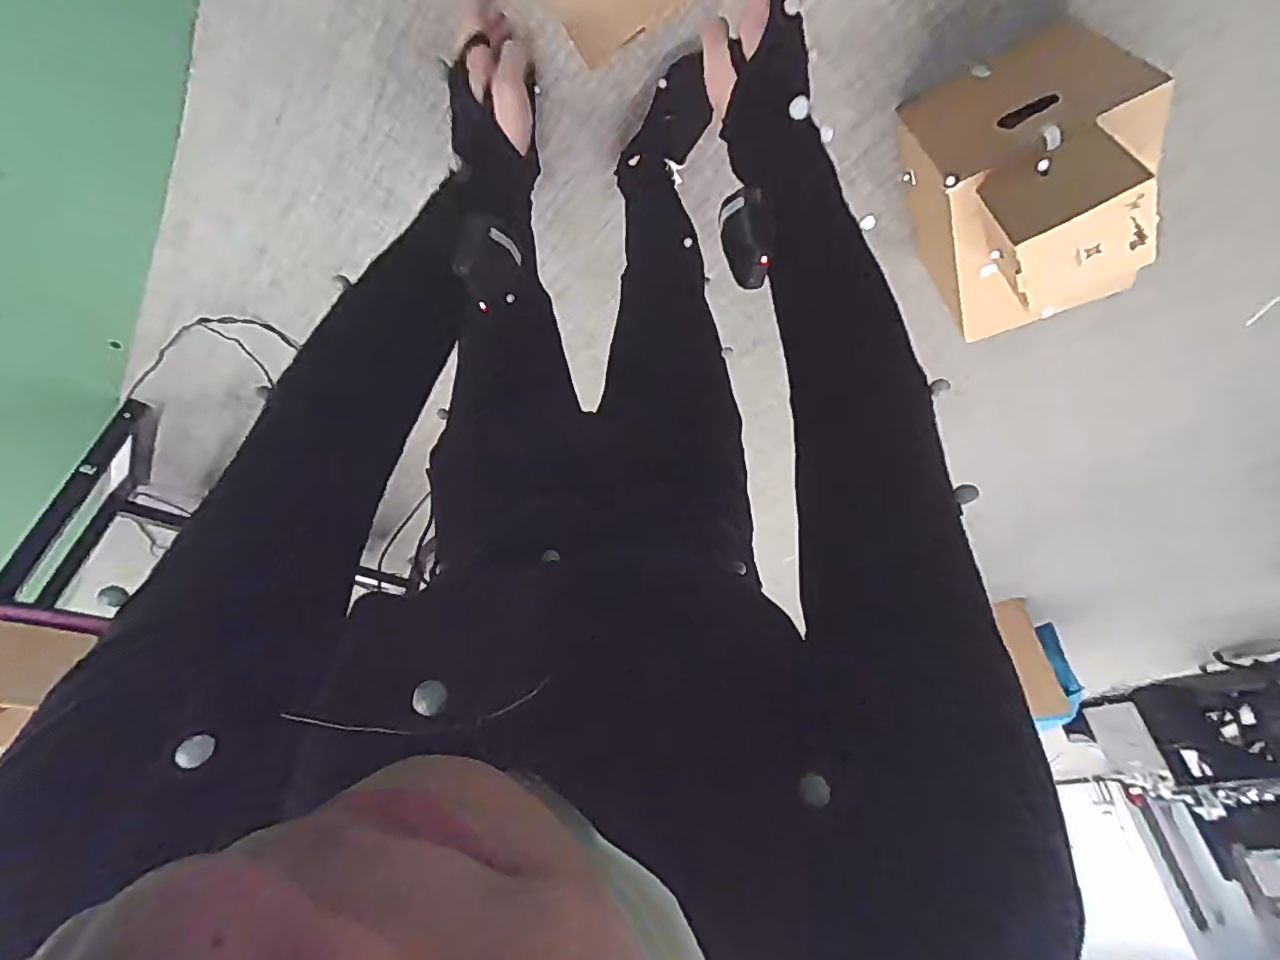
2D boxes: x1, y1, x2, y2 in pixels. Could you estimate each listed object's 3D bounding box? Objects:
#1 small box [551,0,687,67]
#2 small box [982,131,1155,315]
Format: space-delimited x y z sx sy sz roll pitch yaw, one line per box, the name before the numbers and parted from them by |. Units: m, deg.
small box | -0.020 -0.512 0.455 0.168 0.176 0.179 -20 139 23
small box | 0.685 -0.414 0.881 0.179 0.176 0.168 -23 139 29
